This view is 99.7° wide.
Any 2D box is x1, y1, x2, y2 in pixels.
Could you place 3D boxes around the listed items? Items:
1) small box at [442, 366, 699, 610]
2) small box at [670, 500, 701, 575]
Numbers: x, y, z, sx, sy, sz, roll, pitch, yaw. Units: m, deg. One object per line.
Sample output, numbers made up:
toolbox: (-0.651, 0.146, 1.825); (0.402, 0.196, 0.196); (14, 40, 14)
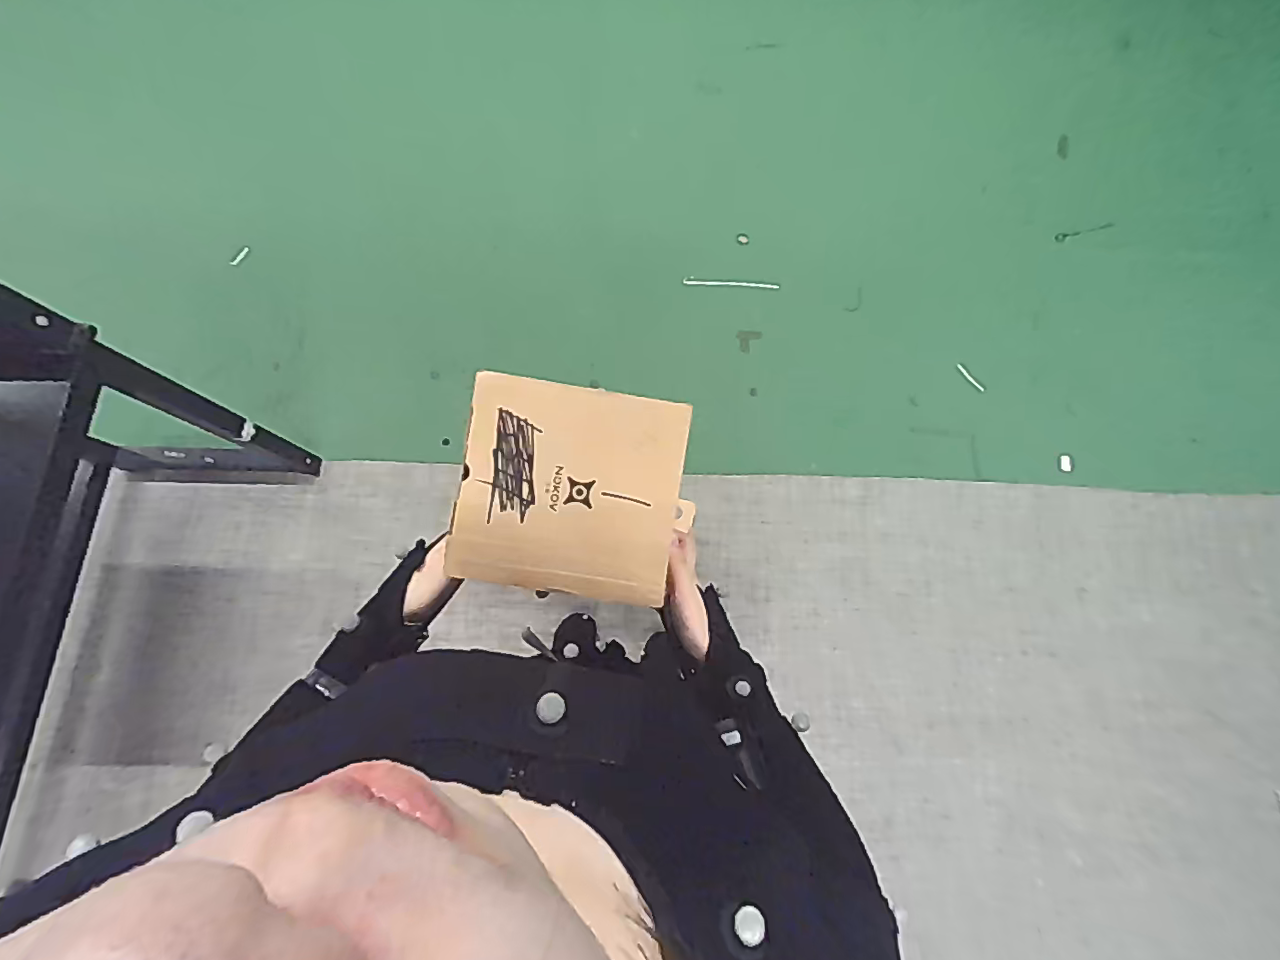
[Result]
small box: (-0.055, 0.009, 0.495); (0.179, 0.176, 0.168); (10, 88, -2)
small box: (0.037, 0.132, 1.305); (0.179, 0.176, 0.168); (13, 77, 2)
